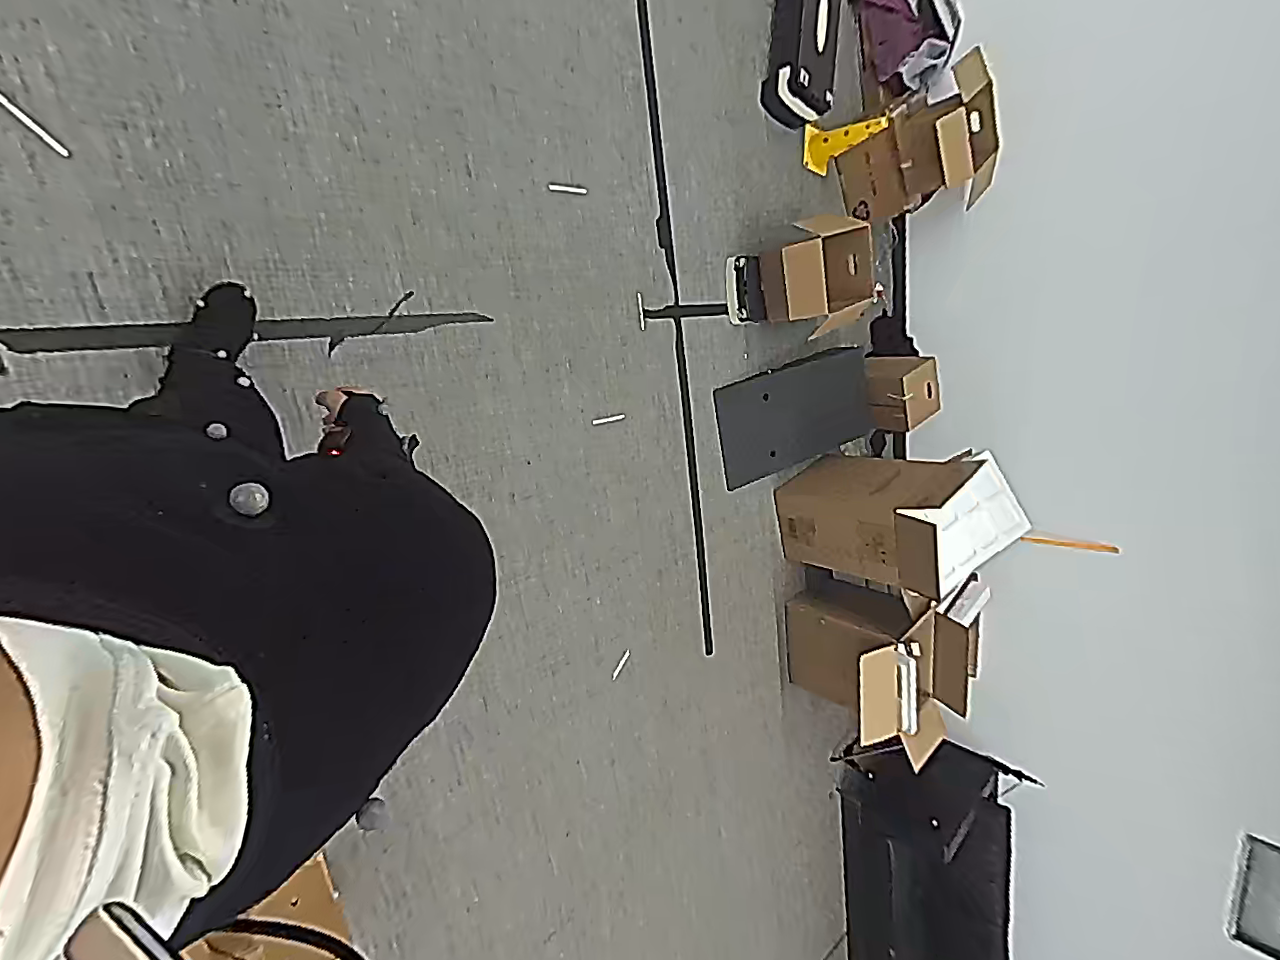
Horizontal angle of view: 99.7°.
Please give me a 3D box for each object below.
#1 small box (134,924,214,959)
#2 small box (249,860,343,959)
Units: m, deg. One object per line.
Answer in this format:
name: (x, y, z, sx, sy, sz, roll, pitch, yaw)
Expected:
small box: (-1.131, 1.235, 1.288, 0.179, 0.176, 0.168, -14, 105, -39)
small box: (-0.929, 1.187, 1.454, 0.179, 0.176, 0.168, -17, 107, -40)
